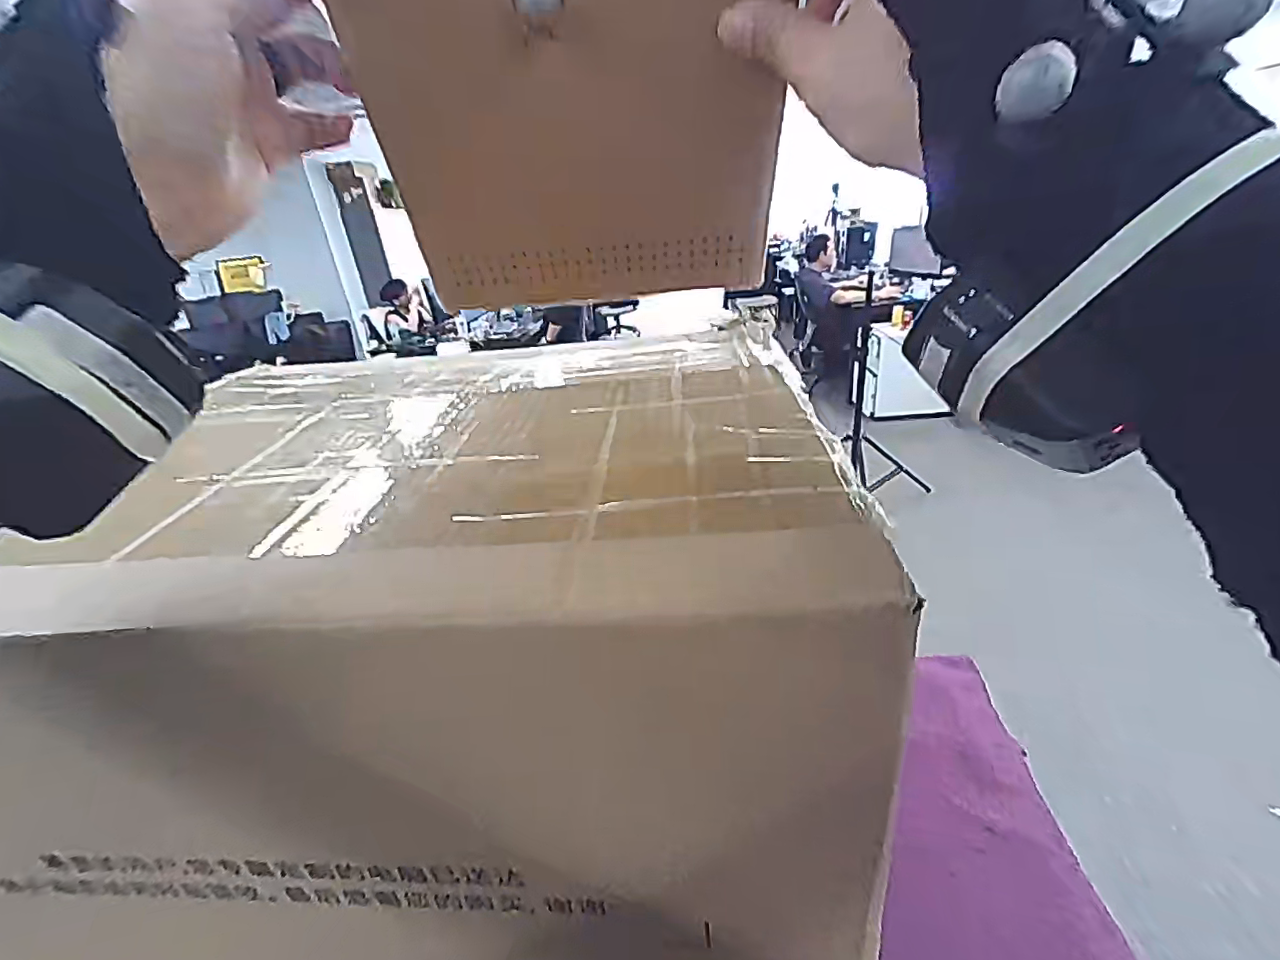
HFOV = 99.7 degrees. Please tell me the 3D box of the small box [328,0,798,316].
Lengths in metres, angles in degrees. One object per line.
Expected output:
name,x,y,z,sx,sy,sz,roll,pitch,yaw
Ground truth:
small box,-0.026,-0.206,0.284,0.179,0.176,0.168,-4,51,2
